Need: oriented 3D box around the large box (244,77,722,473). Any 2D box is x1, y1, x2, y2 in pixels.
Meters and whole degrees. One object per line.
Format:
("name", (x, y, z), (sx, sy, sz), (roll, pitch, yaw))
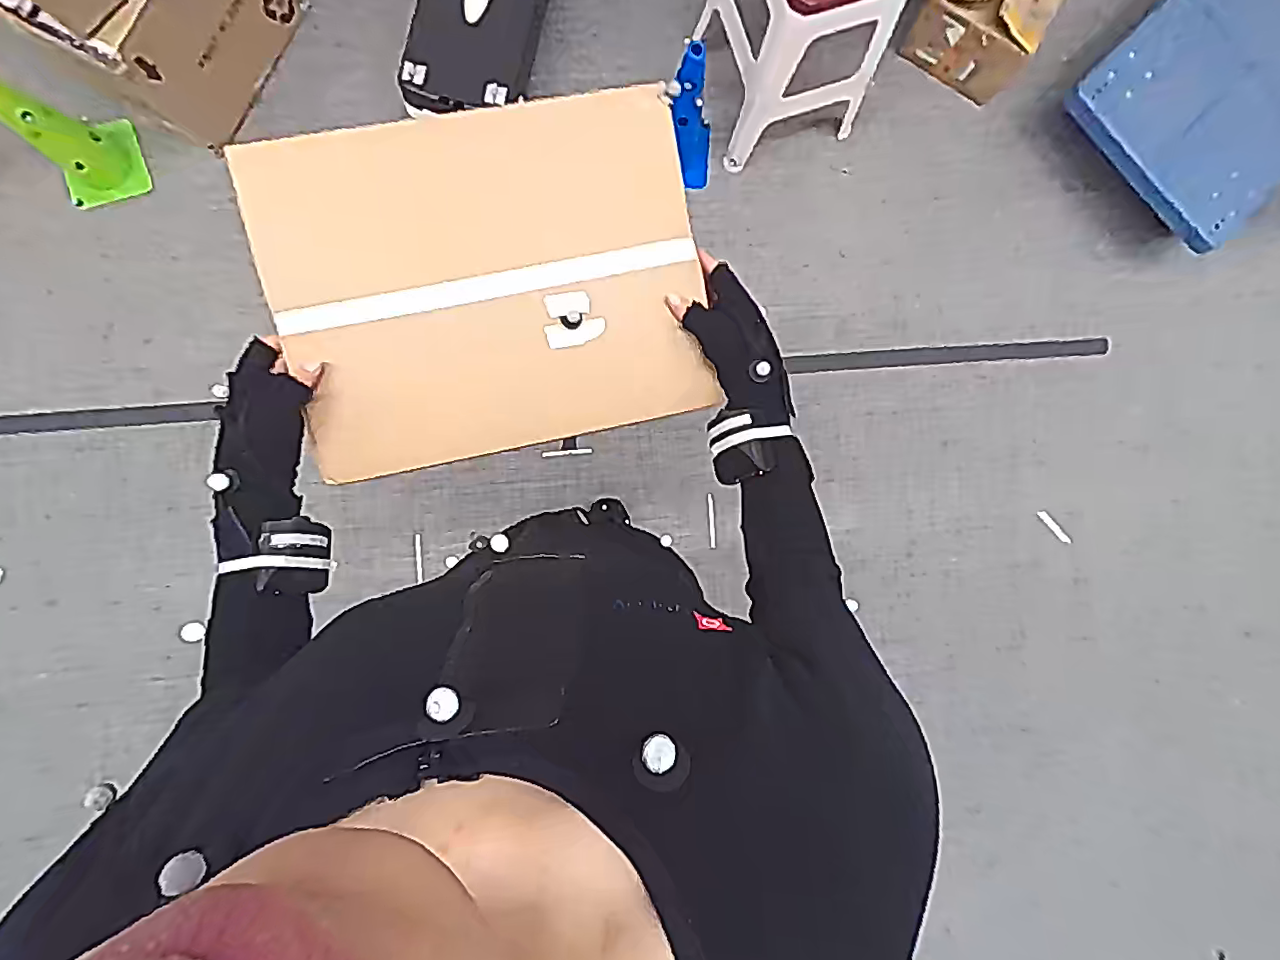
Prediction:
("large box", (-0.156, -0.216, 0.673), (0.408, 0.320, 0.320), (-13, 100, -6))
